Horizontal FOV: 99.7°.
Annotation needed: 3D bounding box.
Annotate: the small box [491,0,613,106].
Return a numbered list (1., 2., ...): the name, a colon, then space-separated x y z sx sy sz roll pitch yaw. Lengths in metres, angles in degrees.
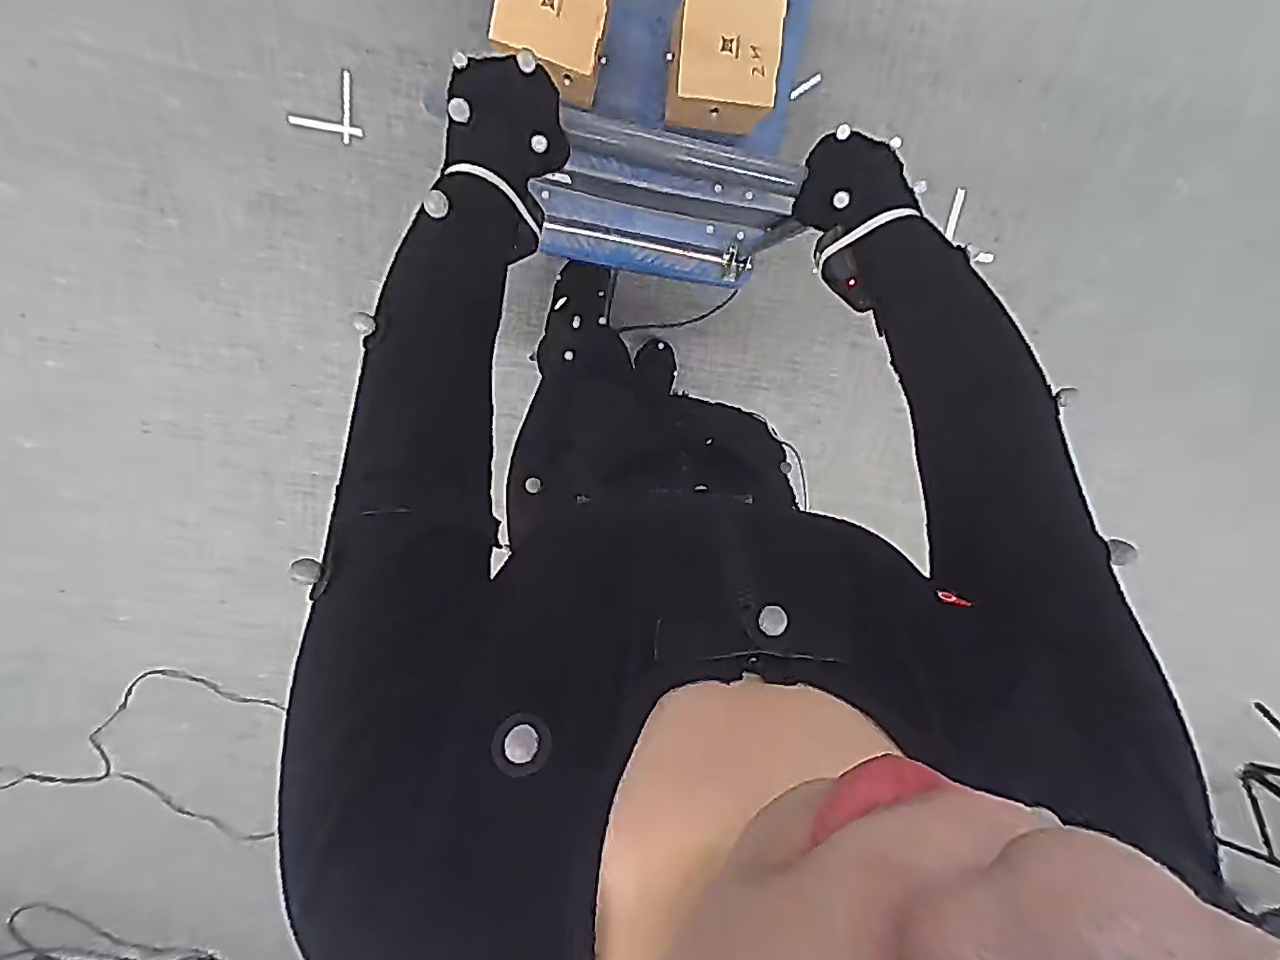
1. small box: -0.151 -0.804 0.961 0.179 0.176 0.168 13 106 -11

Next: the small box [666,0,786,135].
1. small box: 0.148 -0.764 1.004 0.179 0.176 0.168 3 108 -6
